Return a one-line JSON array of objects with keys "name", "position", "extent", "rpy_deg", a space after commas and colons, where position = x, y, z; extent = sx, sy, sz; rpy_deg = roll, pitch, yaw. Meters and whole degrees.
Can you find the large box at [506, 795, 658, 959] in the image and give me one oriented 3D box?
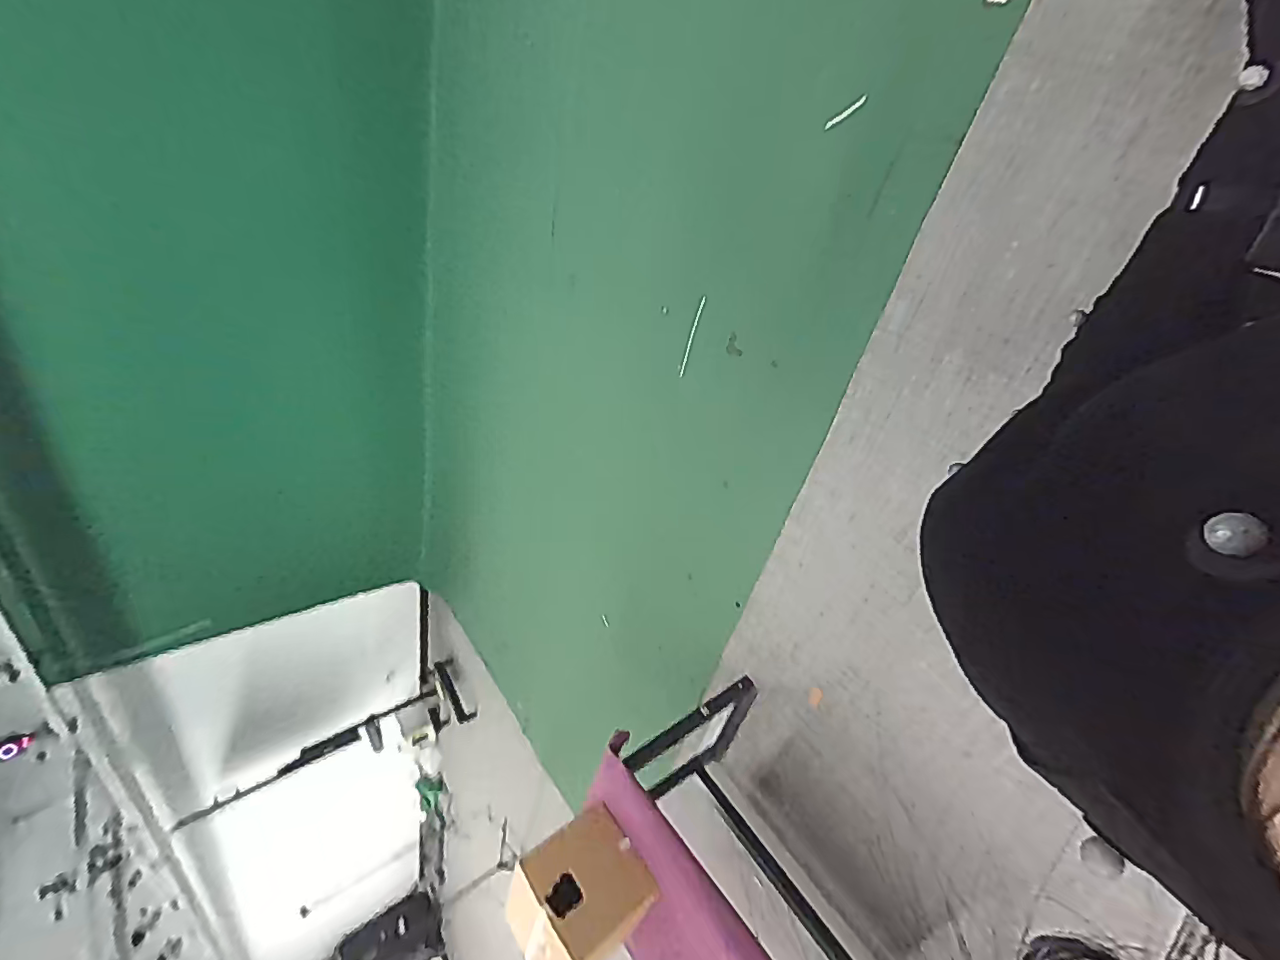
[{"name": "large box", "position": [-0.190, 1.292, 1.683], "extent": [0.320, 0.320, 0.408], "rpy_deg": [40, 129, 33]}]
